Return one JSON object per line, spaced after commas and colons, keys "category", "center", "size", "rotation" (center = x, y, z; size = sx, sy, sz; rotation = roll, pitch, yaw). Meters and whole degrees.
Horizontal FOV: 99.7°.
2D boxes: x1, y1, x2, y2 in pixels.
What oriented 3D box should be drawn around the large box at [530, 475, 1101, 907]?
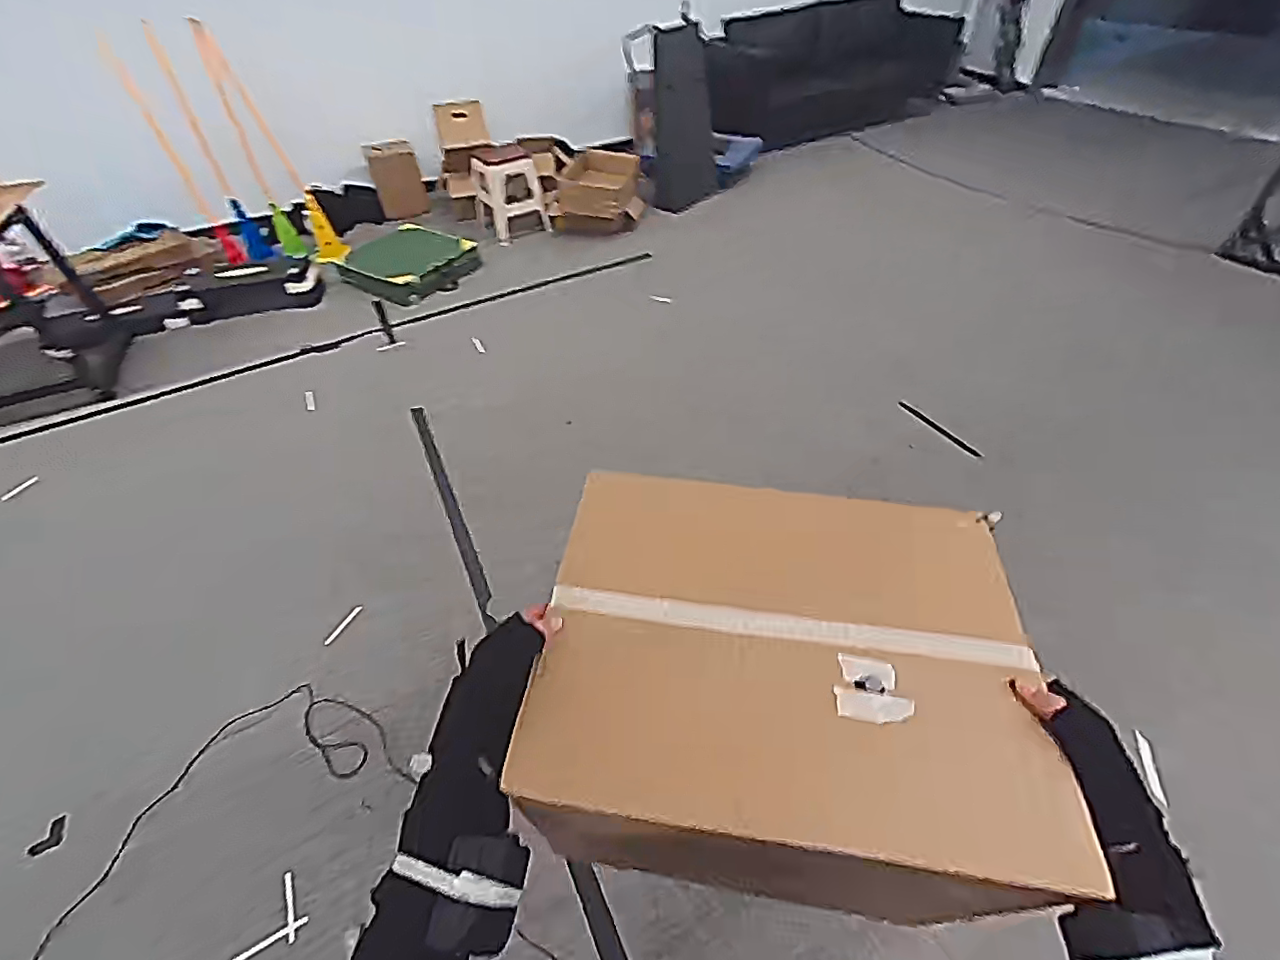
{"category": "large box", "center": [0.133, 0.226, 0.585], "size": [0.408, 0.320, 0.320], "rotation": [7, 50, 6]}
